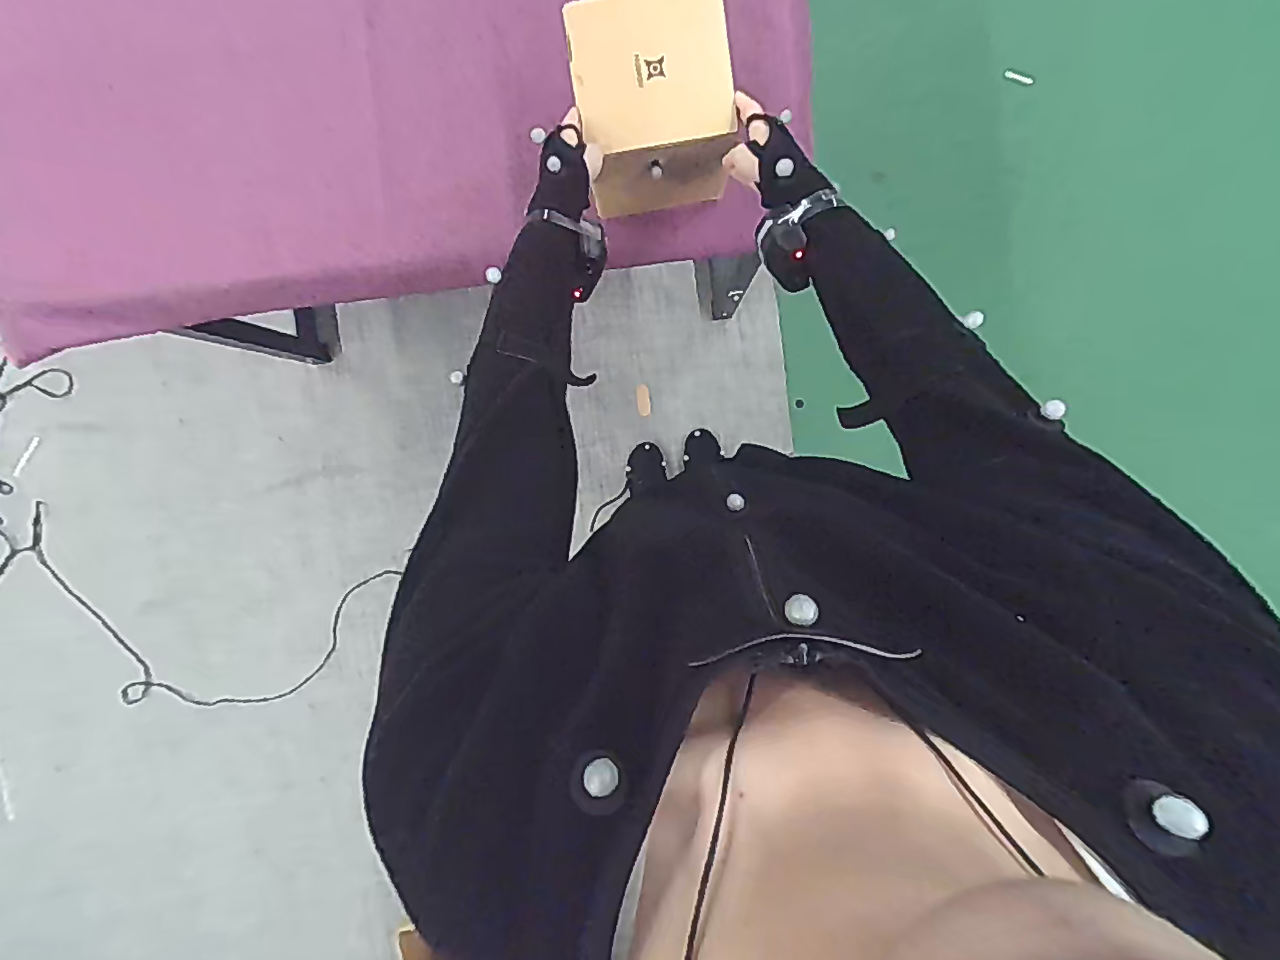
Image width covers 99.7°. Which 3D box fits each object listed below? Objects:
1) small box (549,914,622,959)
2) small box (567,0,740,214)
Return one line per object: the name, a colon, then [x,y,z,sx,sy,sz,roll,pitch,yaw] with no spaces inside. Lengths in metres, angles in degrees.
small box: [-0.151,1.354,1.503,0.179,0.176,0.168,-12,91,7]
small box: [0.019,-0.459,0.676,0.179,0.176,0.168,-8,95,5]
